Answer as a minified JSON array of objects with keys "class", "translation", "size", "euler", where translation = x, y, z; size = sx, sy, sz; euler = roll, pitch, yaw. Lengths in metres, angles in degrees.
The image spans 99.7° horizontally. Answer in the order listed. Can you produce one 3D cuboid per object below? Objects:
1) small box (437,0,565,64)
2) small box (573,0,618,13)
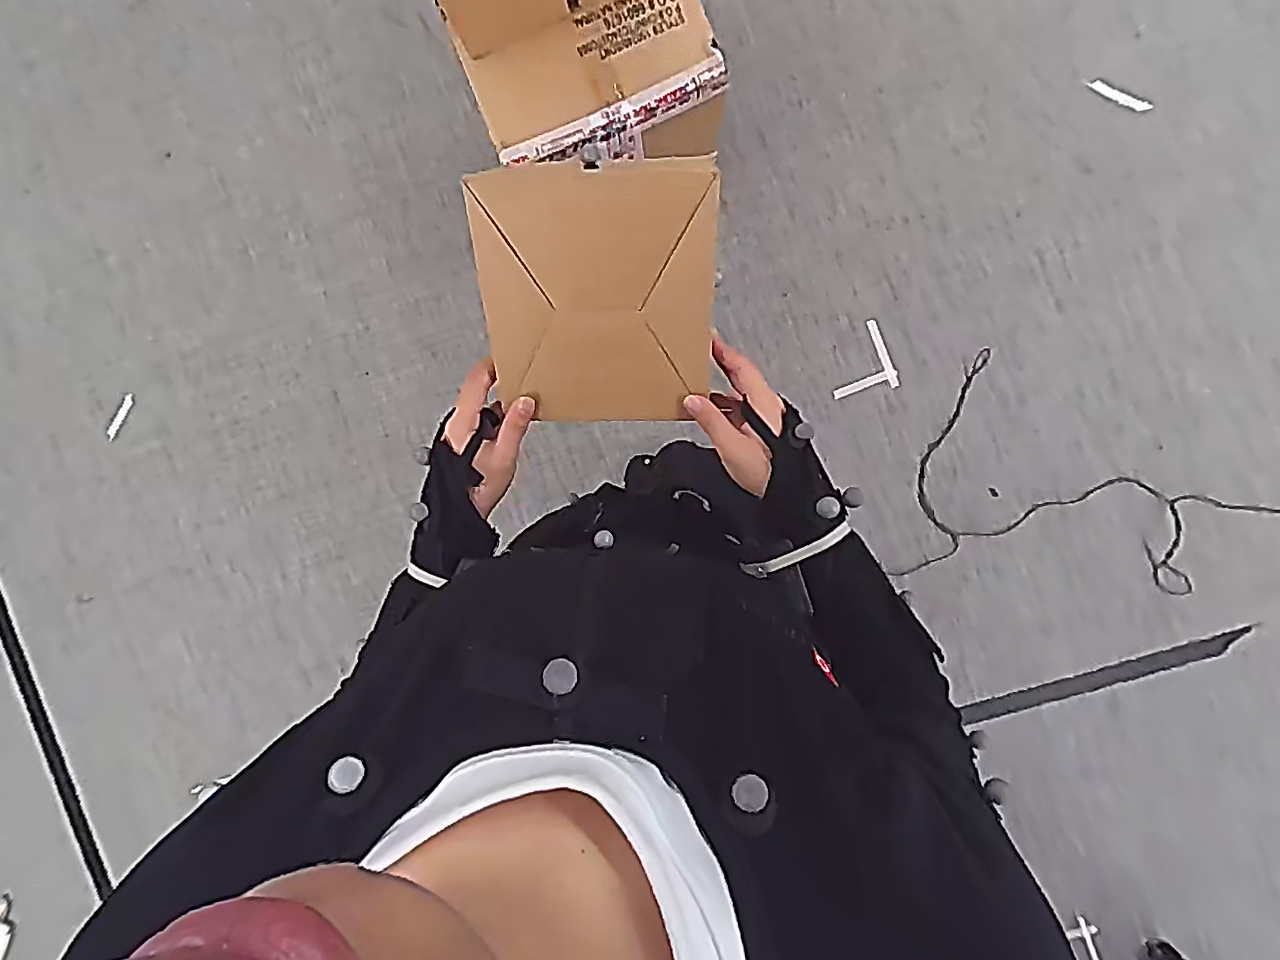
[{"class":"small box","translation":[-0.220,-0.765,0.782],"size":[0.179,0.176,0.168],"euler":[-19,91,6]},{"class":"small box","translation":[-0.043,-0.835,0.770],"size":[0.179,0.176,0.168],"euler":[-20,92,3]}]
